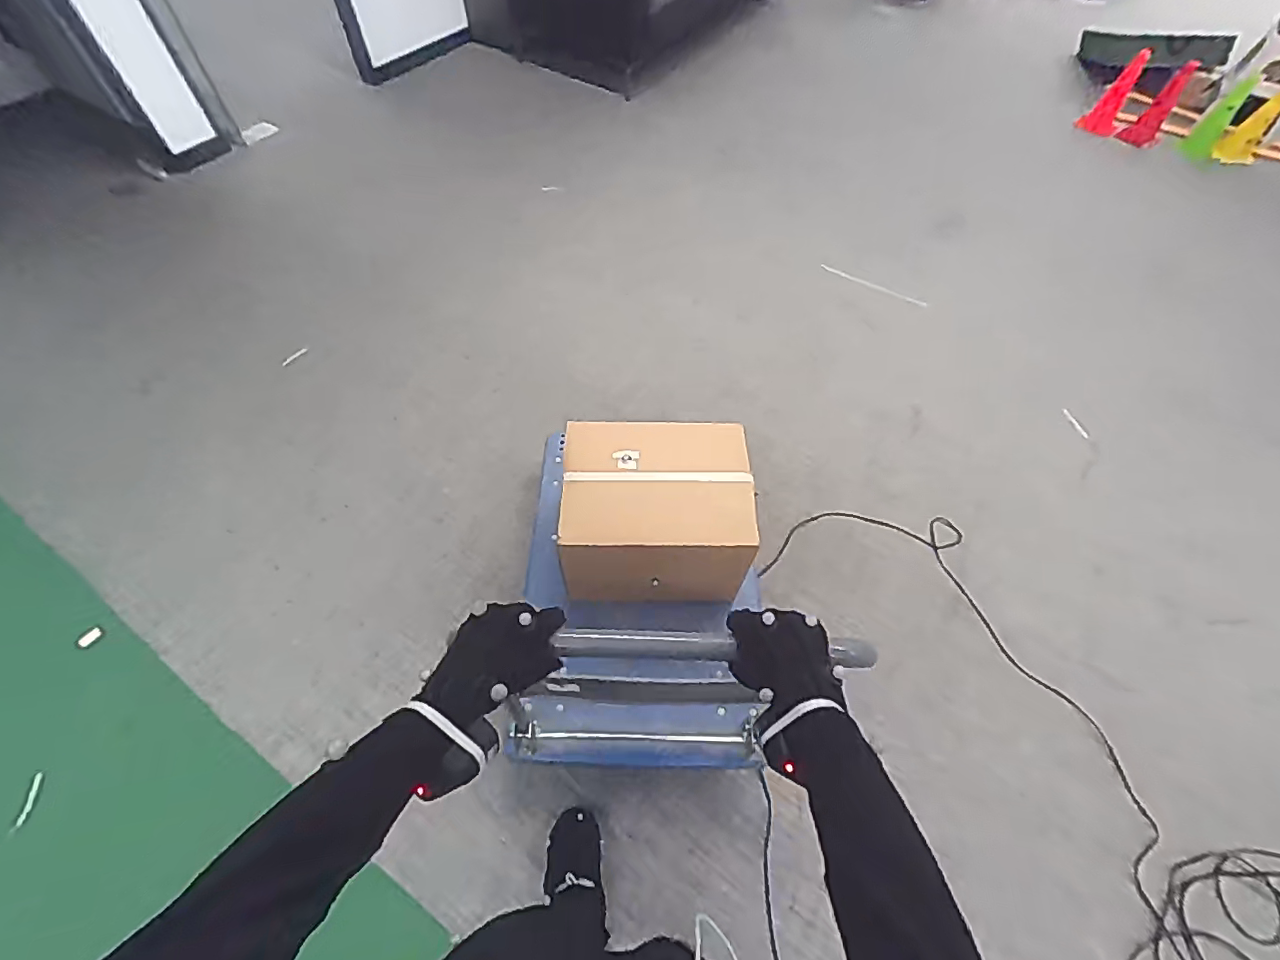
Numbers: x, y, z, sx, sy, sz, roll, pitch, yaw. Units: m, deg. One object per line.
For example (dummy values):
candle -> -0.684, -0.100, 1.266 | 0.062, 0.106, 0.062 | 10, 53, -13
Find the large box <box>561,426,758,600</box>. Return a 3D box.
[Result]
large box -> 0.036, 0.087, 1.283 | 0.408, 0.320, 0.320 | 0, 57, -1
